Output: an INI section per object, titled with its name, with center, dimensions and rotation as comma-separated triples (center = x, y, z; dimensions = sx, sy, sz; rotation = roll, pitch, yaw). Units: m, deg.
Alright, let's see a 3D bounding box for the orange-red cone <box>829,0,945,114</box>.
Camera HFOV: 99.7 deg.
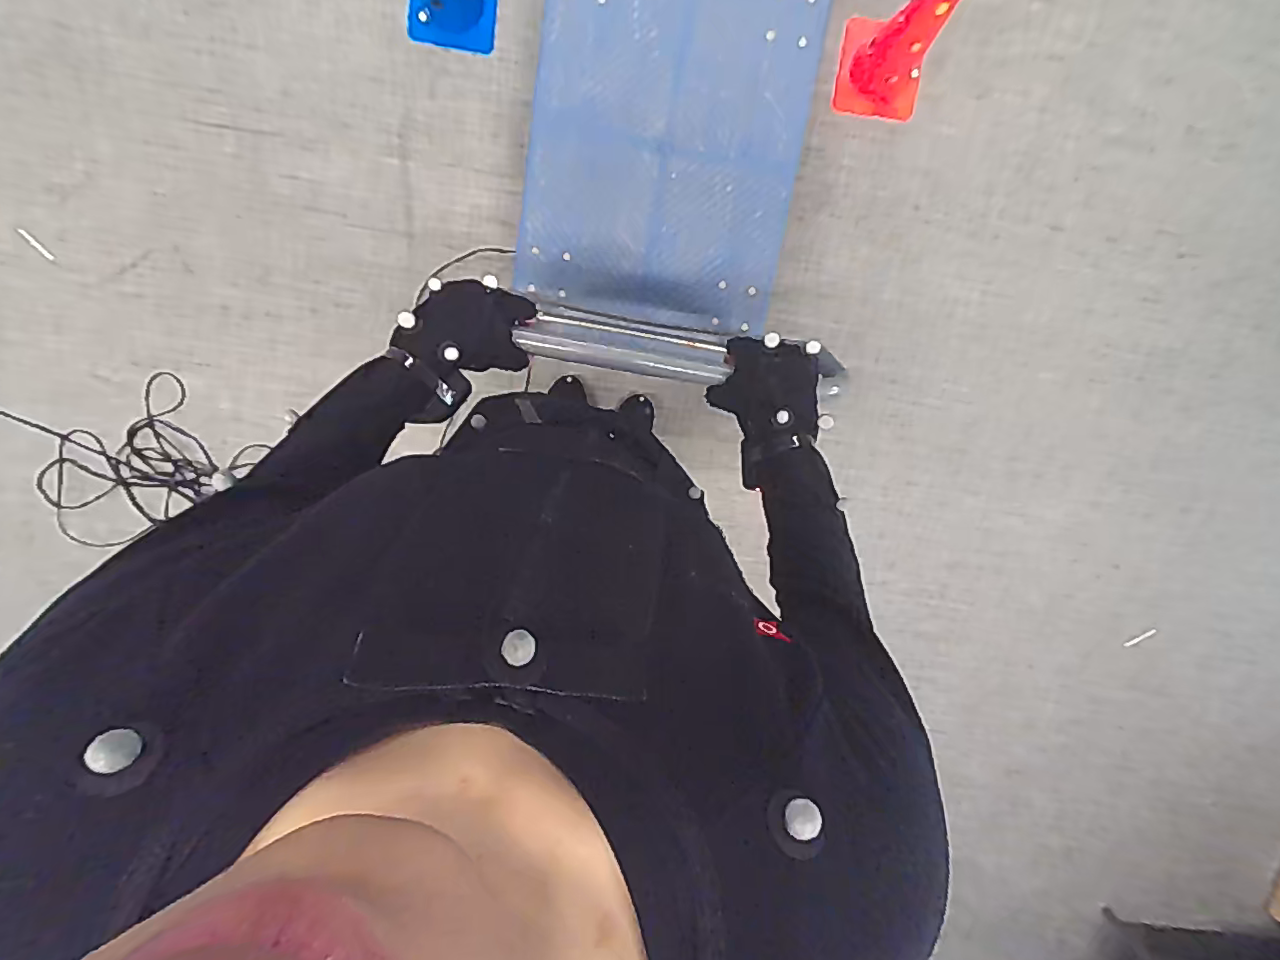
[orange-red cone]
center = 0.565, -0.960, 1.124
dimensions = 0.199, 0.360, 0.198
rotation = 8, 101, -2
